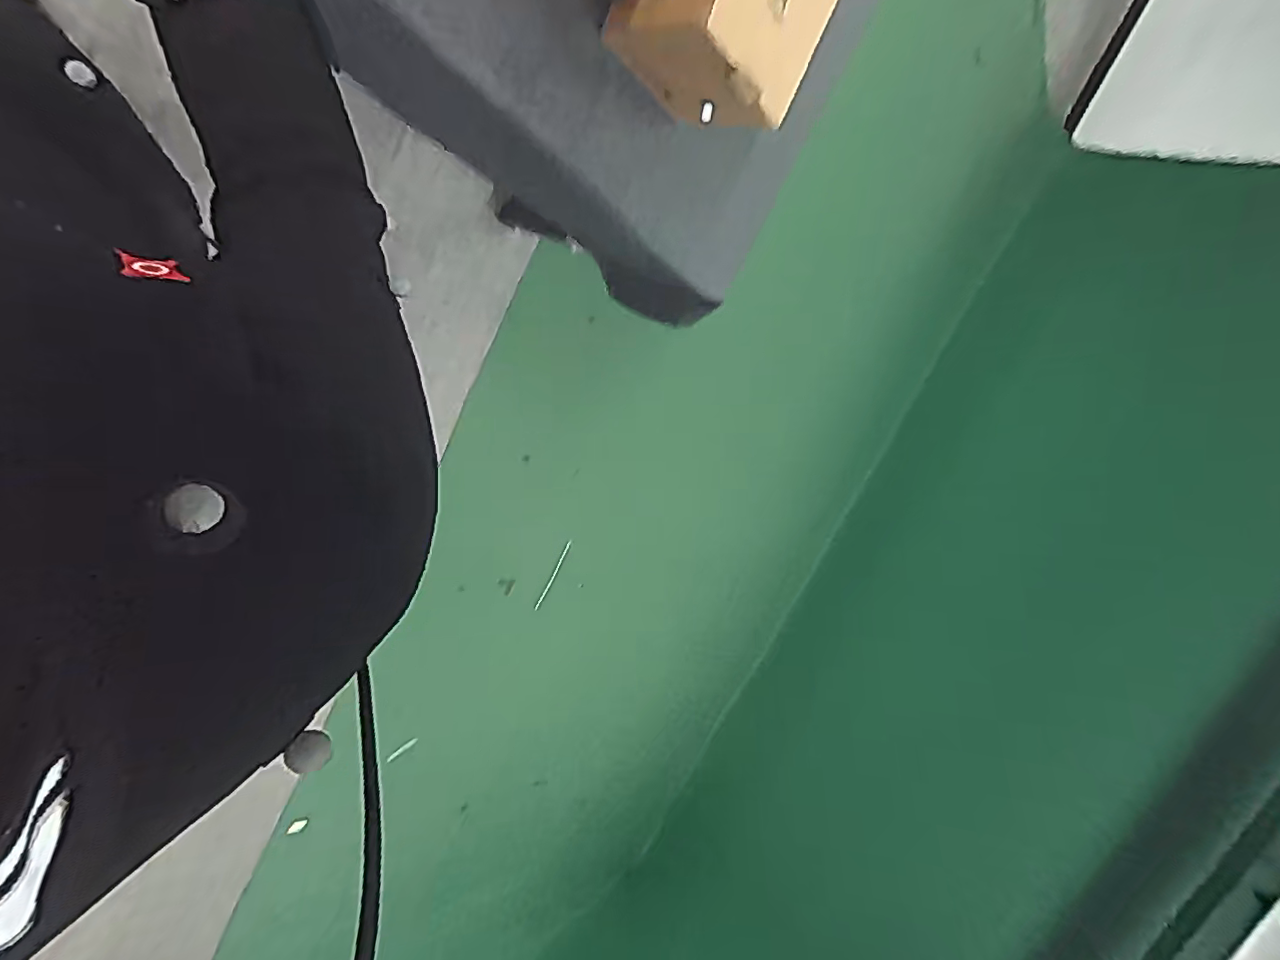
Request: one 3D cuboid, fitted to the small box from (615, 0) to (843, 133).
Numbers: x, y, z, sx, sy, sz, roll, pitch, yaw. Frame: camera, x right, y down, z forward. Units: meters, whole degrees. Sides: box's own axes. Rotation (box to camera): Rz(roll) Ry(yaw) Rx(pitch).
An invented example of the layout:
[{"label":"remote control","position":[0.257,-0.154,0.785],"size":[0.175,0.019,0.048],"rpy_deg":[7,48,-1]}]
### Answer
[{"label":"small box","position":[0.097,-0.529,0.608],"size":[0.168,0.176,0.179],"rpy_deg":[10,107,-51]}]
